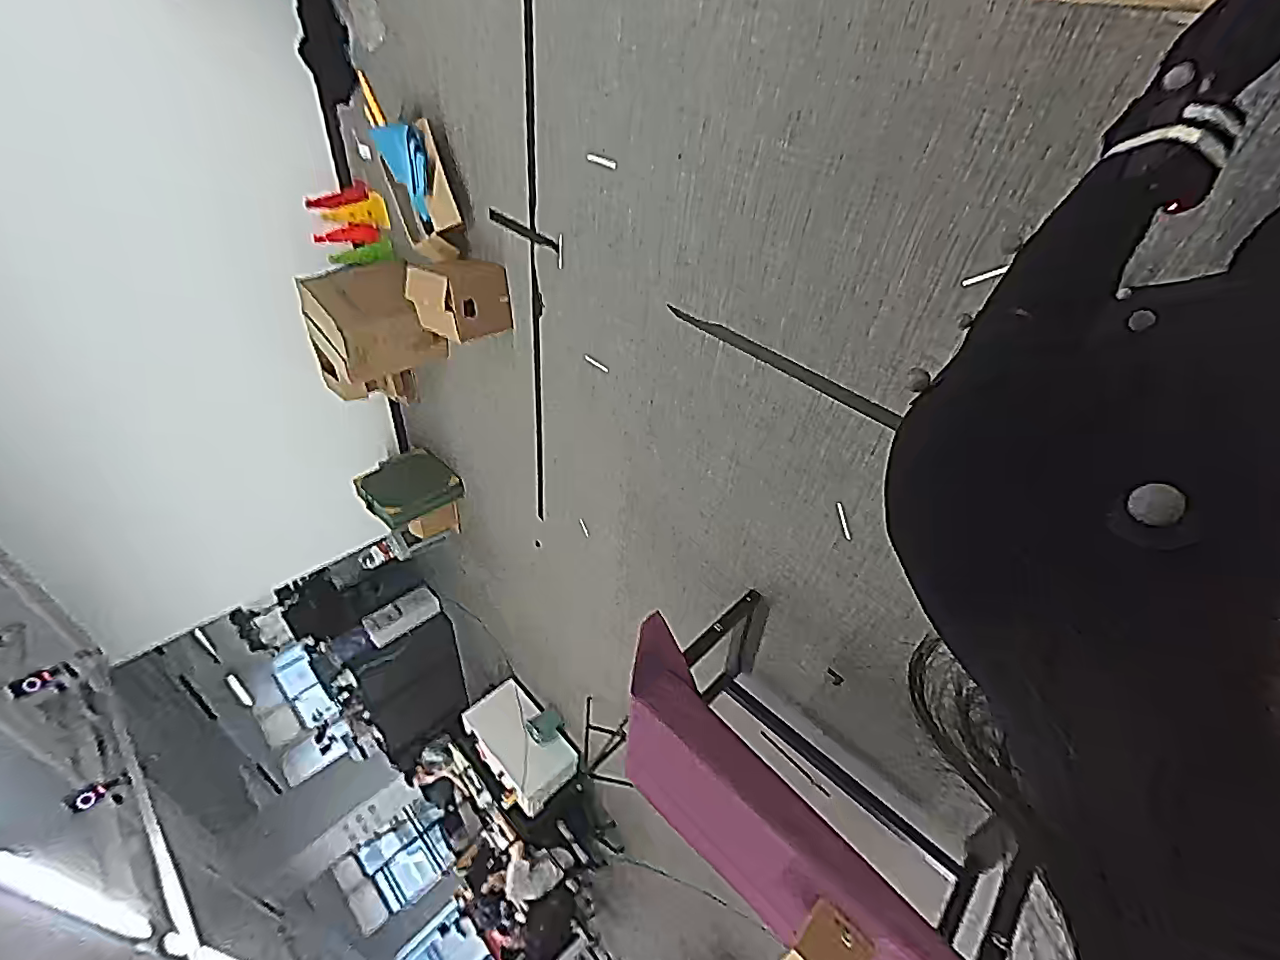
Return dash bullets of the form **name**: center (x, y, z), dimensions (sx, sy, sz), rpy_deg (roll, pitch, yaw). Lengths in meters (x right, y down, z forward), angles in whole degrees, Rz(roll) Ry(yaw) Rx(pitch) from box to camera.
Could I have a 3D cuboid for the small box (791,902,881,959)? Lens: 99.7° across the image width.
- **small box**: center (0.533, 1.321, 1.485), dimensions (0.168, 0.176, 0.179), rpy_deg (31, 135, 32)
